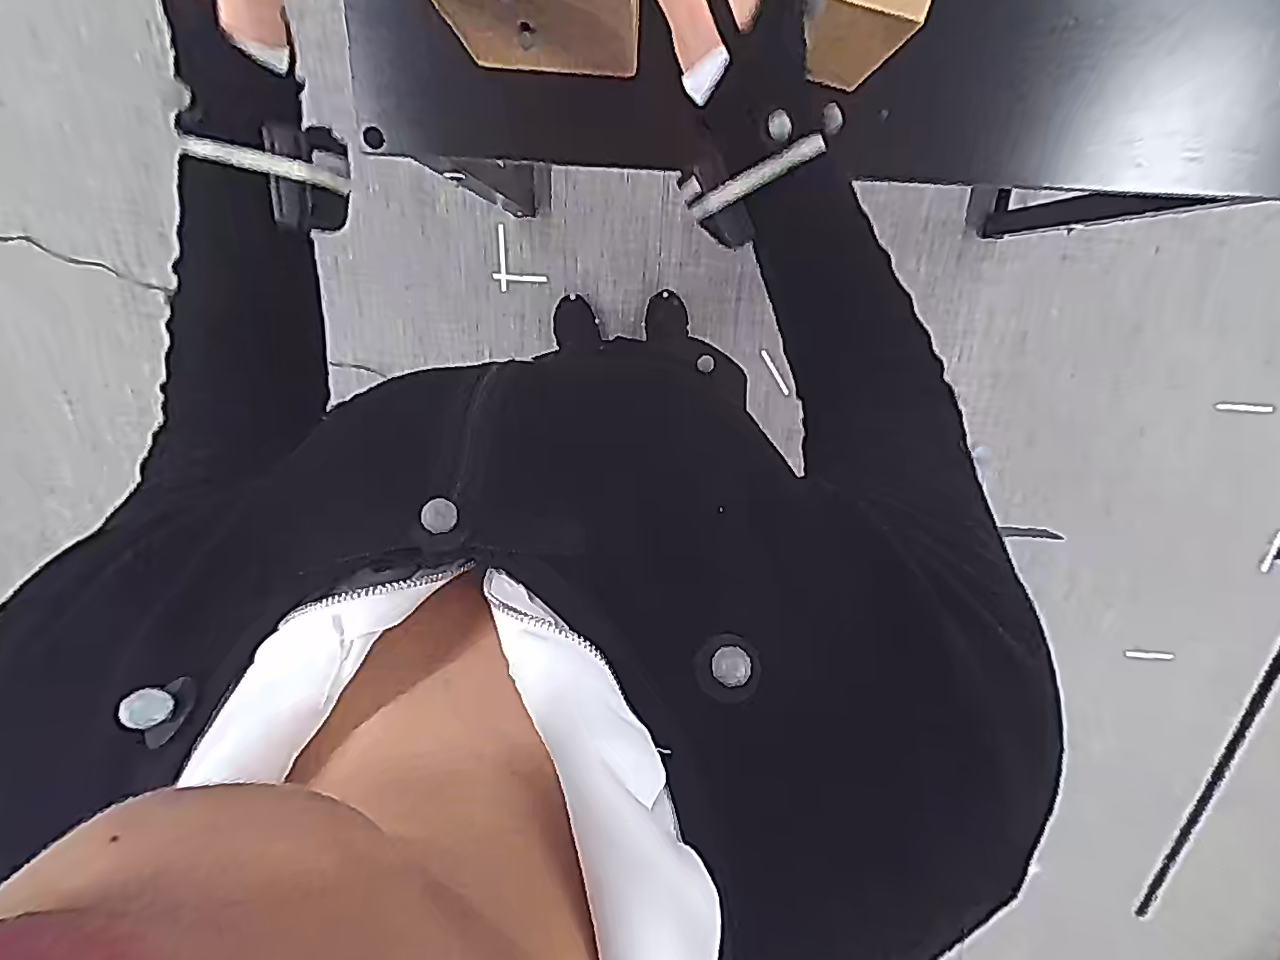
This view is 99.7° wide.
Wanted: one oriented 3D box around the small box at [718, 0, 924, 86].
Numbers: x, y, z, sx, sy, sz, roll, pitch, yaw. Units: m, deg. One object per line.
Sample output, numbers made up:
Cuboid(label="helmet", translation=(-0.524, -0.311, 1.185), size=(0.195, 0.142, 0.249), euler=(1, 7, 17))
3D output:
Cuboid(label="small box", translation=(0.176, -0.506, 0.499), size=(0.168, 0.176, 0.179), euler=(13, 108, -4))

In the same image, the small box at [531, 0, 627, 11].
Cuboid(label="small box", translation=(-0.080, -0.453, 0.345), size=(0.168, 0.176, 0.179), euler=(4, 110, -1))

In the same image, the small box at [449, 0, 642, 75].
Cuboid(label="small box", translation=(-0.086, -0.505, 0.501), size=(0.179, 0.176, 0.168), euler=(3, 109, 0))
